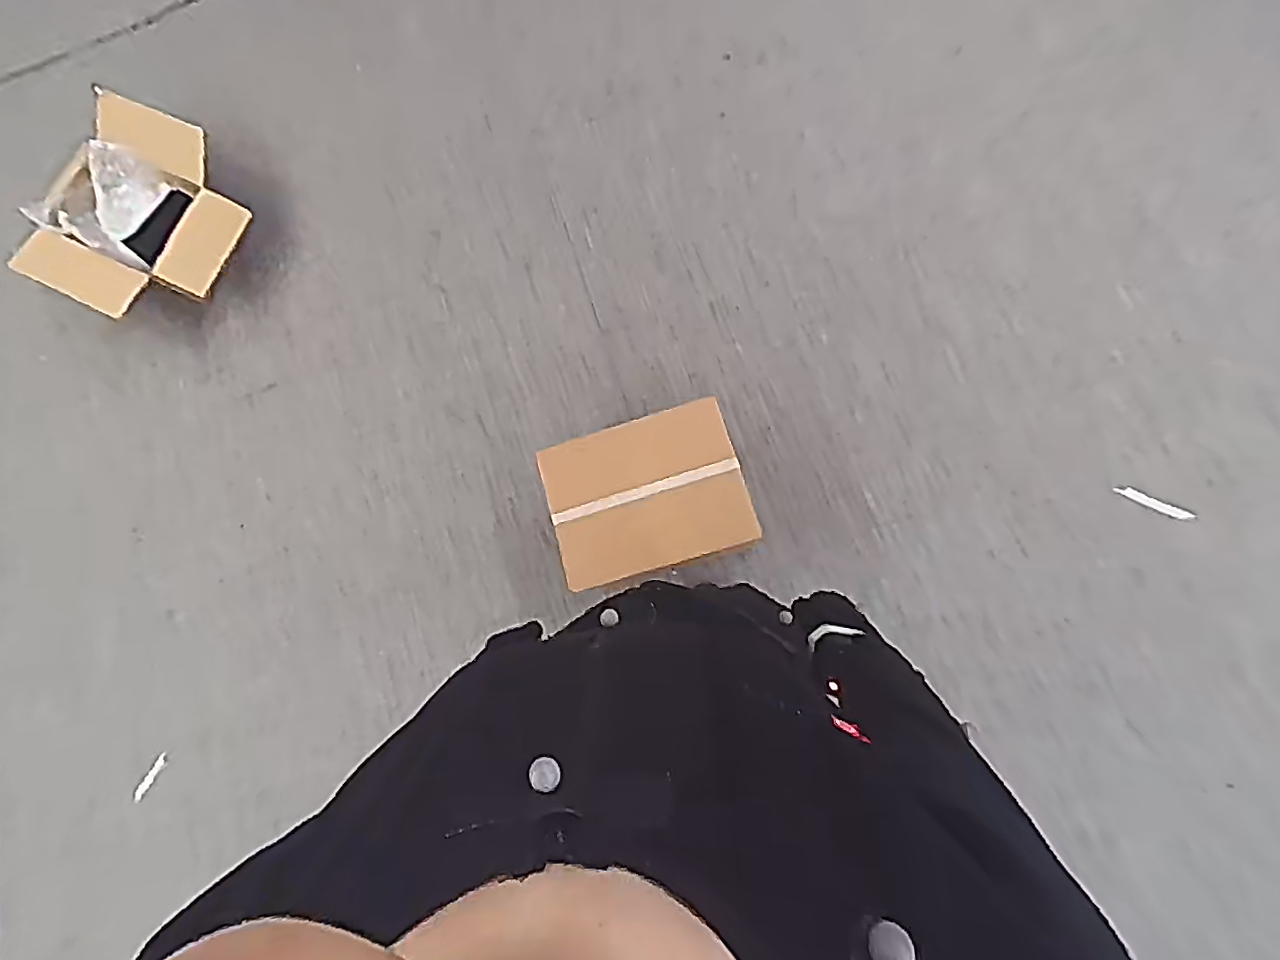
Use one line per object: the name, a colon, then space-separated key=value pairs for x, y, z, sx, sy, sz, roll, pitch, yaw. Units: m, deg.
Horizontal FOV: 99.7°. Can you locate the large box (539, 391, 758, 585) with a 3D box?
large box: x=0.027 y=0.041 z=1.270 sx=0.408 sy=0.320 sz=0.320 roll=-17 pitch=79 yaw=4
